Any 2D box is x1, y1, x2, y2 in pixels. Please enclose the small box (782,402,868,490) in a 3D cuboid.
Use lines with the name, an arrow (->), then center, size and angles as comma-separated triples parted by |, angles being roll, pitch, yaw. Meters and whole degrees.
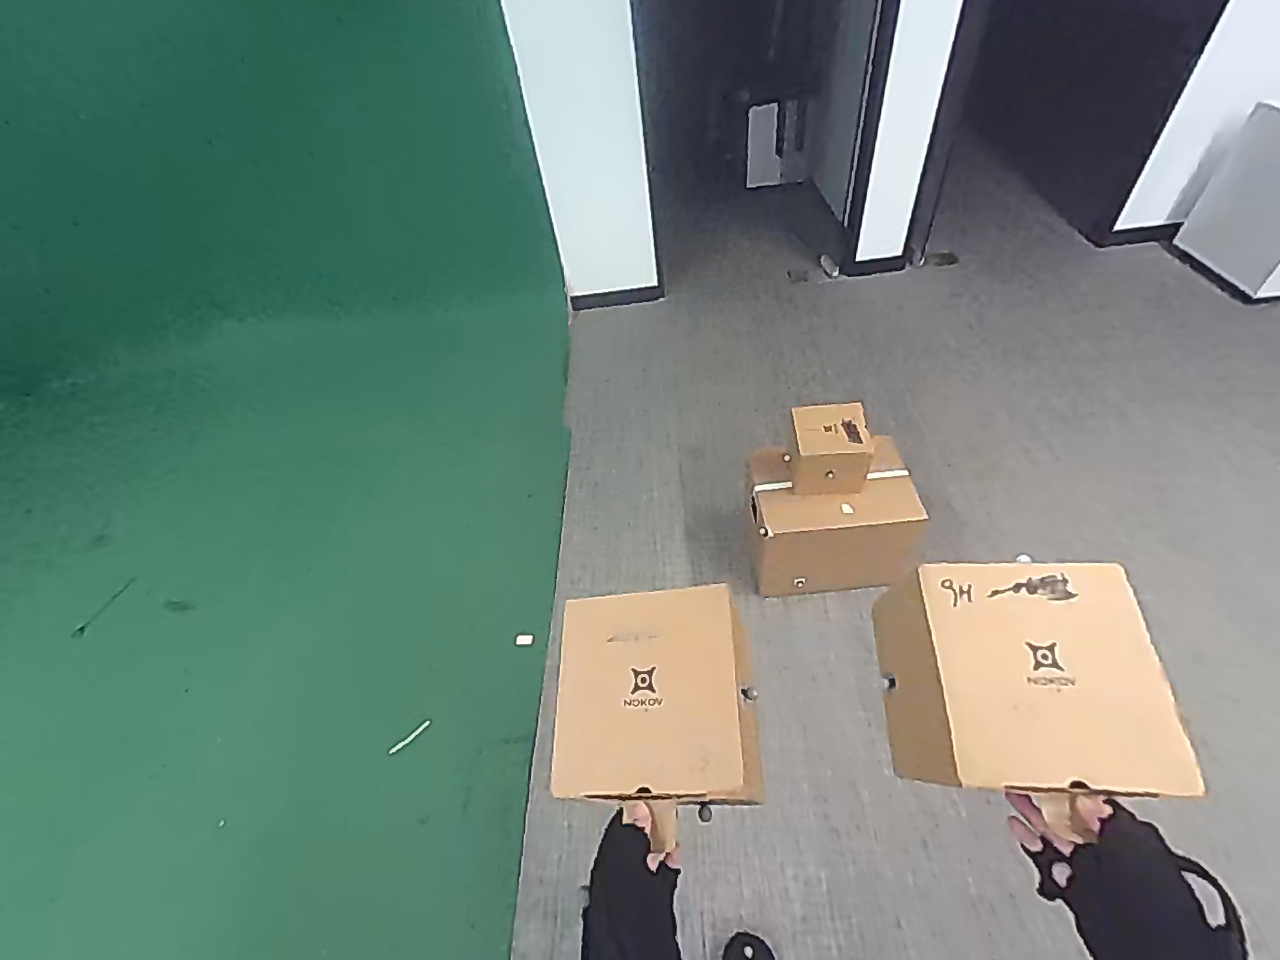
small box -> 0.473, -0.085, 1.410 | 0.179, 0.176, 0.168 | 0, 52, 8

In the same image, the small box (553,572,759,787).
small box -> 0.024, 0.214, 0.556 | 0.168, 0.176, 0.179 | -9, 56, 13
